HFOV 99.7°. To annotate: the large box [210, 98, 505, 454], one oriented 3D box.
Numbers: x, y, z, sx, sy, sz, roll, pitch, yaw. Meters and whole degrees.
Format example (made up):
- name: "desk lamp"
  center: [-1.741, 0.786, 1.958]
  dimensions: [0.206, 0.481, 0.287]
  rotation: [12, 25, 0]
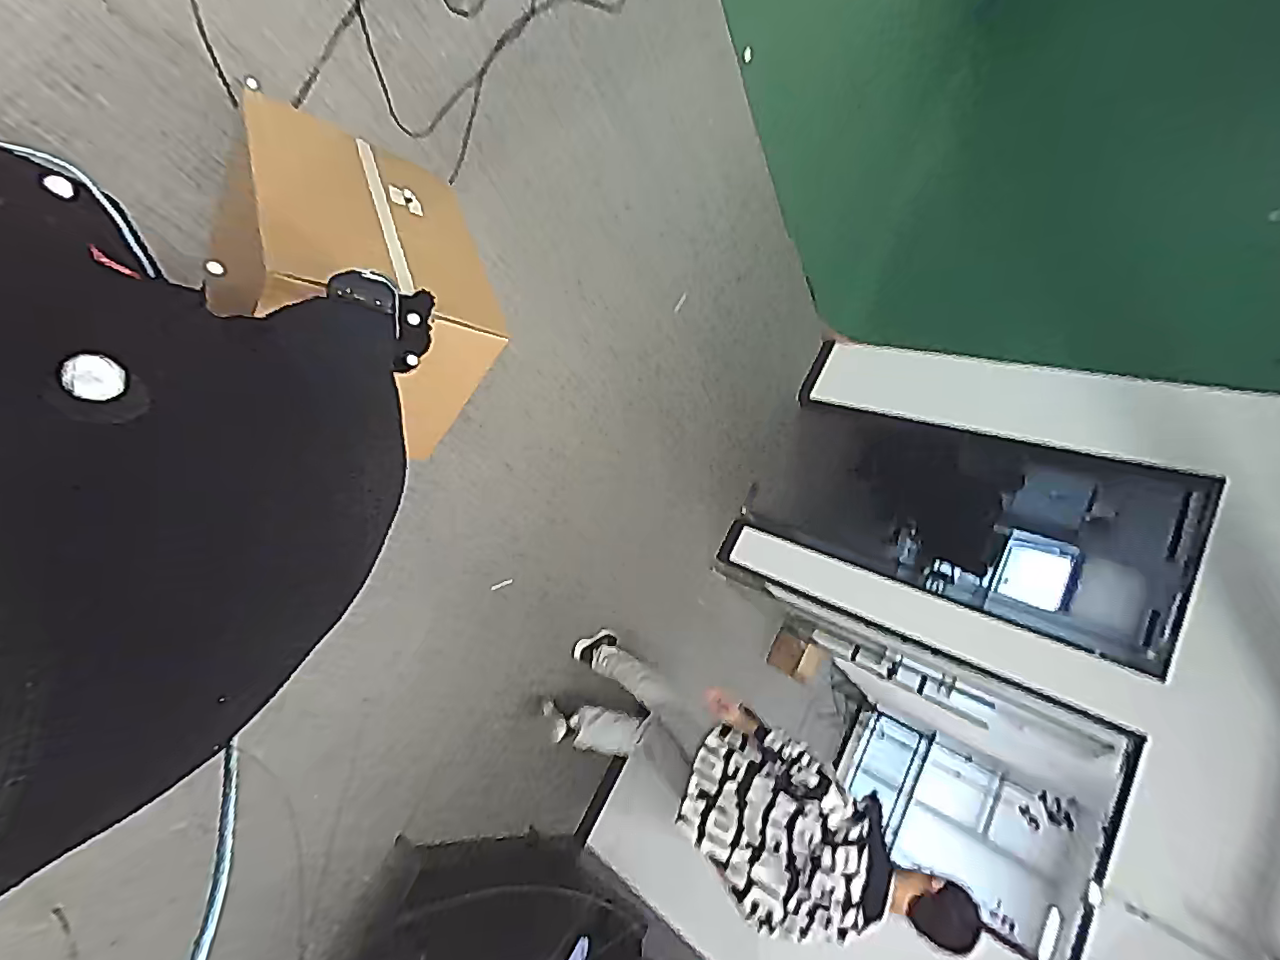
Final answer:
- name: "large box"
  center: [-0.477, -0.293, 0.881]
  dimensions: [0.320, 0.408, 0.320]
  rotation: [6, 141, -47]
